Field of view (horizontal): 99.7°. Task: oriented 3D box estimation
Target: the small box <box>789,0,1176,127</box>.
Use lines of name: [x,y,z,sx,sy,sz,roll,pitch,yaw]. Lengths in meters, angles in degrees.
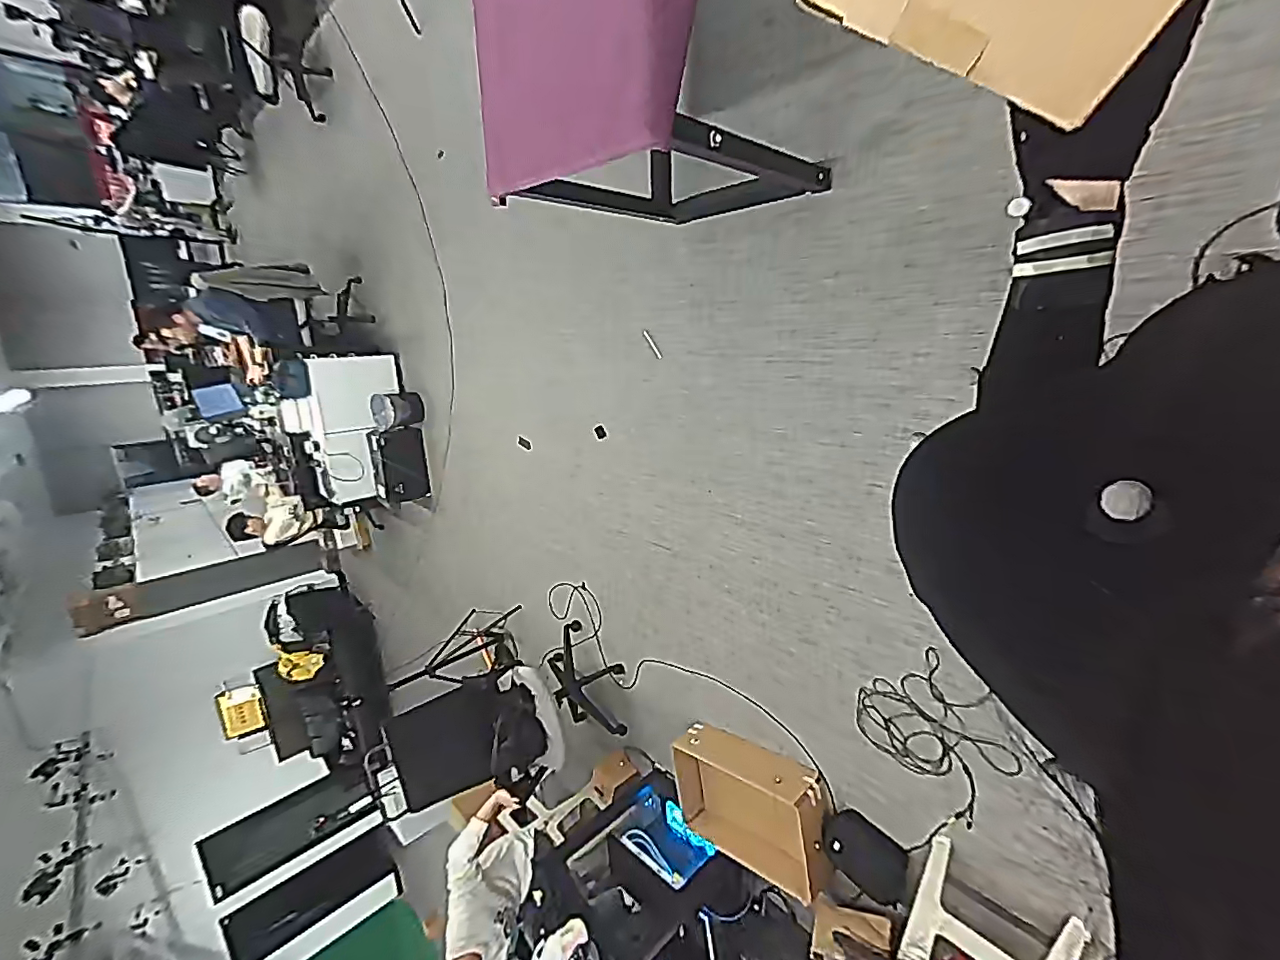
small box: [0.204,-0.310,0.253,0.168,0.179,0.176,35,146,10]
